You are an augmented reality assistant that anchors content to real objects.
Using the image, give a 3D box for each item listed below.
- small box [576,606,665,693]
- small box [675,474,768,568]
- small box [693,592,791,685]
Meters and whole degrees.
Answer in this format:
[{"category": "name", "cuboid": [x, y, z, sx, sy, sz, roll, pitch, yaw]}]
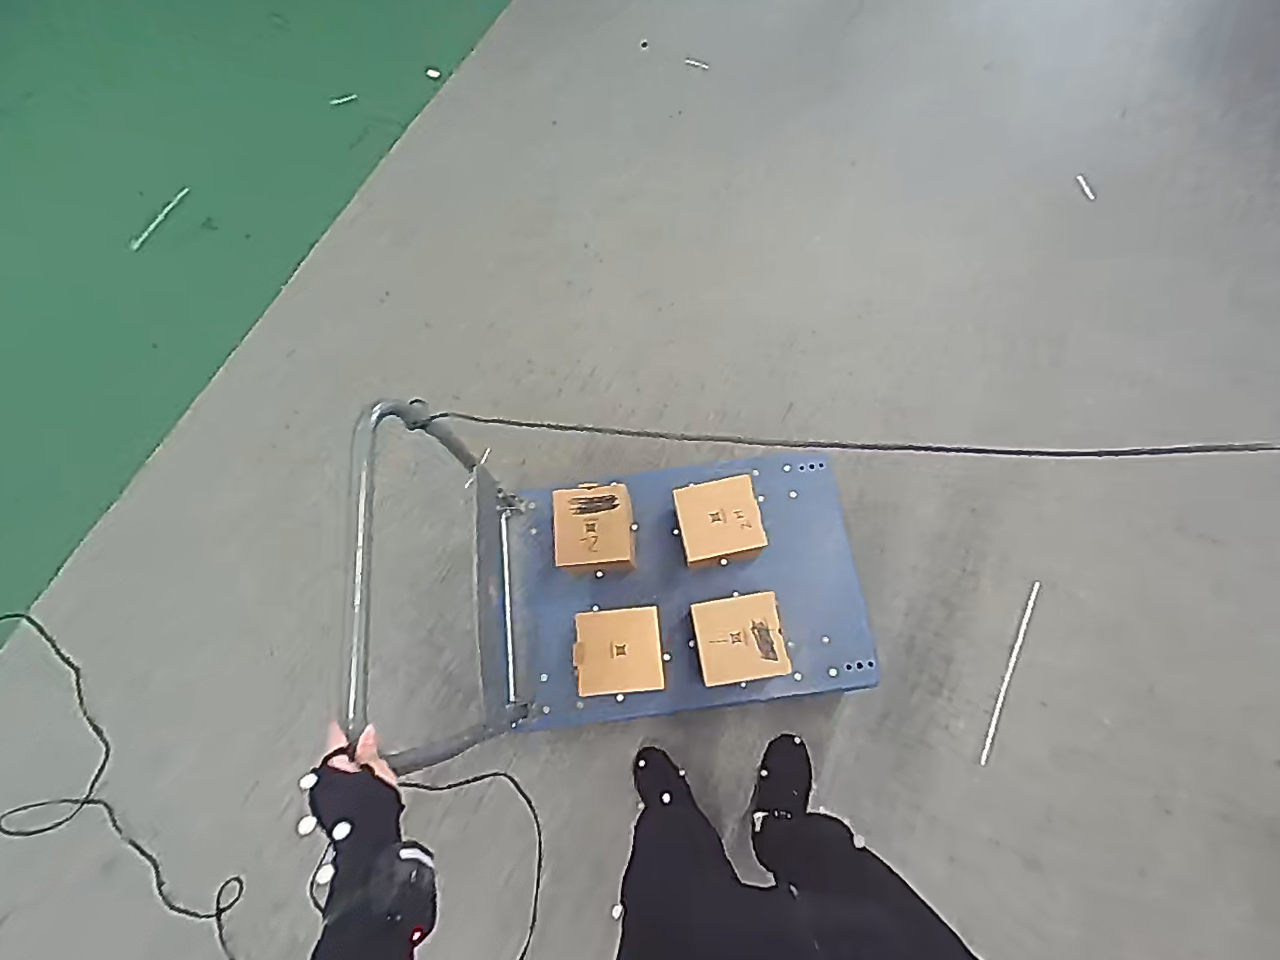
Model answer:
[{"category": "small box", "cuboid": [-0.037, 0.368, 1.182, 0.179, 0.176, 0.168, -6, 72, 3]}, {"category": "small box", "cuboid": [0.182, 0.101, 1.246, 0.179, 0.176, 0.168, -11, 72, 1]}, {"category": "small box", "cuboid": [0.211, 0.341, 1.167, 0.179, 0.176, 0.168, -9, 71, 3]}]
